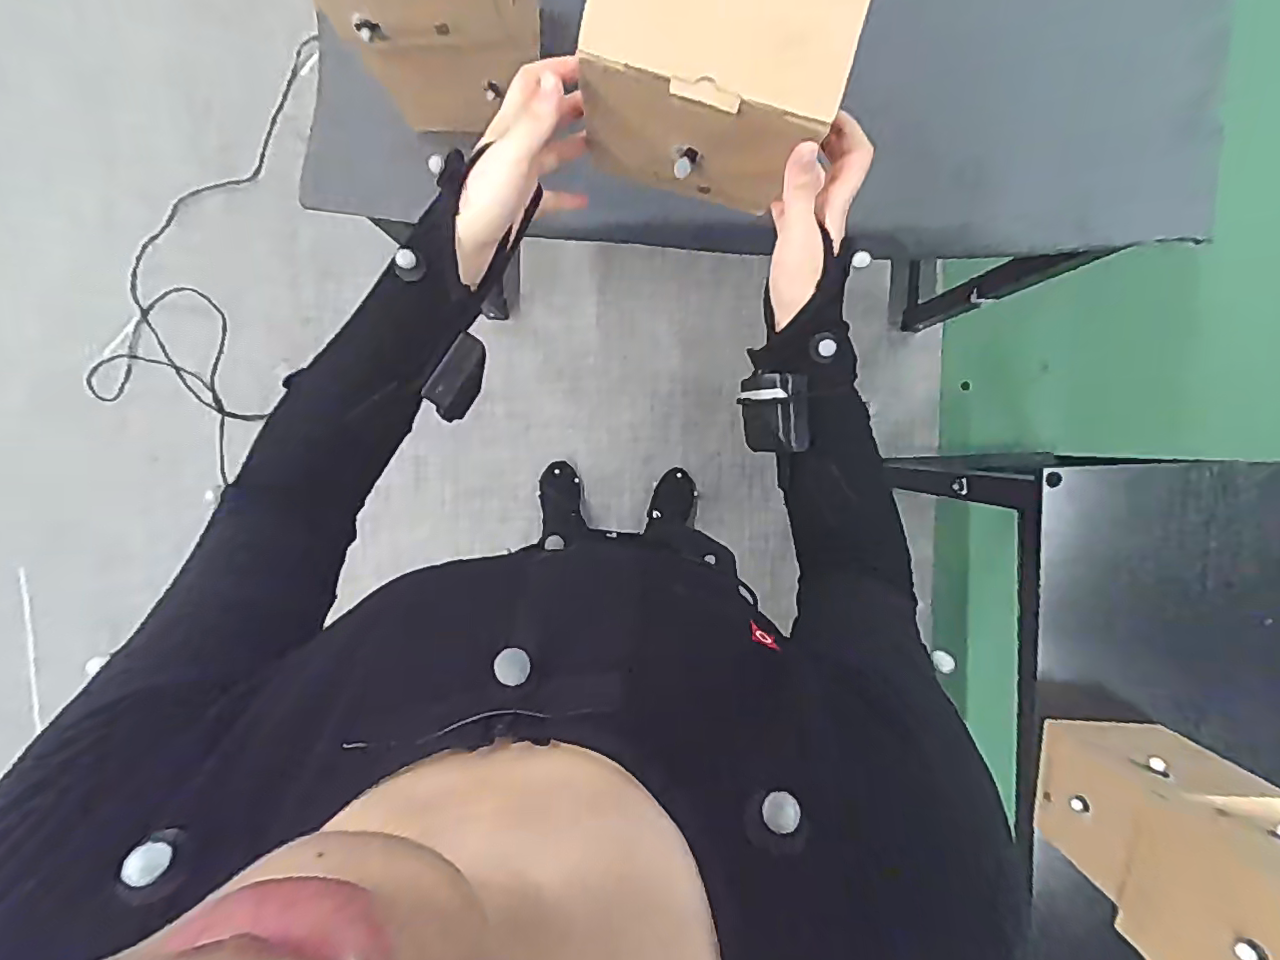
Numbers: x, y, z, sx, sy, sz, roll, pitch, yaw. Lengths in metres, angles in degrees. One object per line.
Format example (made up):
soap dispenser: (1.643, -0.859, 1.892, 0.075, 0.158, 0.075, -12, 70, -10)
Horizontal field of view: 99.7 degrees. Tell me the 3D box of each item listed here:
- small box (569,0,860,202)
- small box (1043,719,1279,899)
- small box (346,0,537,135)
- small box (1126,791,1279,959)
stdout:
small box: (0.057, -0.331, 0.395, 0.168, 0.176, 0.179, 14, 100, -3)
small box: (0.675, 0.434, 0.708, 0.179, 0.176, 0.168, 3, 95, 0)
small box: (-0.220, -0.537, 0.637, 0.179, 0.176, 0.168, -1, 92, 1)
small box: (0.654, 0.460, 0.547, 0.168, 0.176, 0.179, 11, 94, -1)
